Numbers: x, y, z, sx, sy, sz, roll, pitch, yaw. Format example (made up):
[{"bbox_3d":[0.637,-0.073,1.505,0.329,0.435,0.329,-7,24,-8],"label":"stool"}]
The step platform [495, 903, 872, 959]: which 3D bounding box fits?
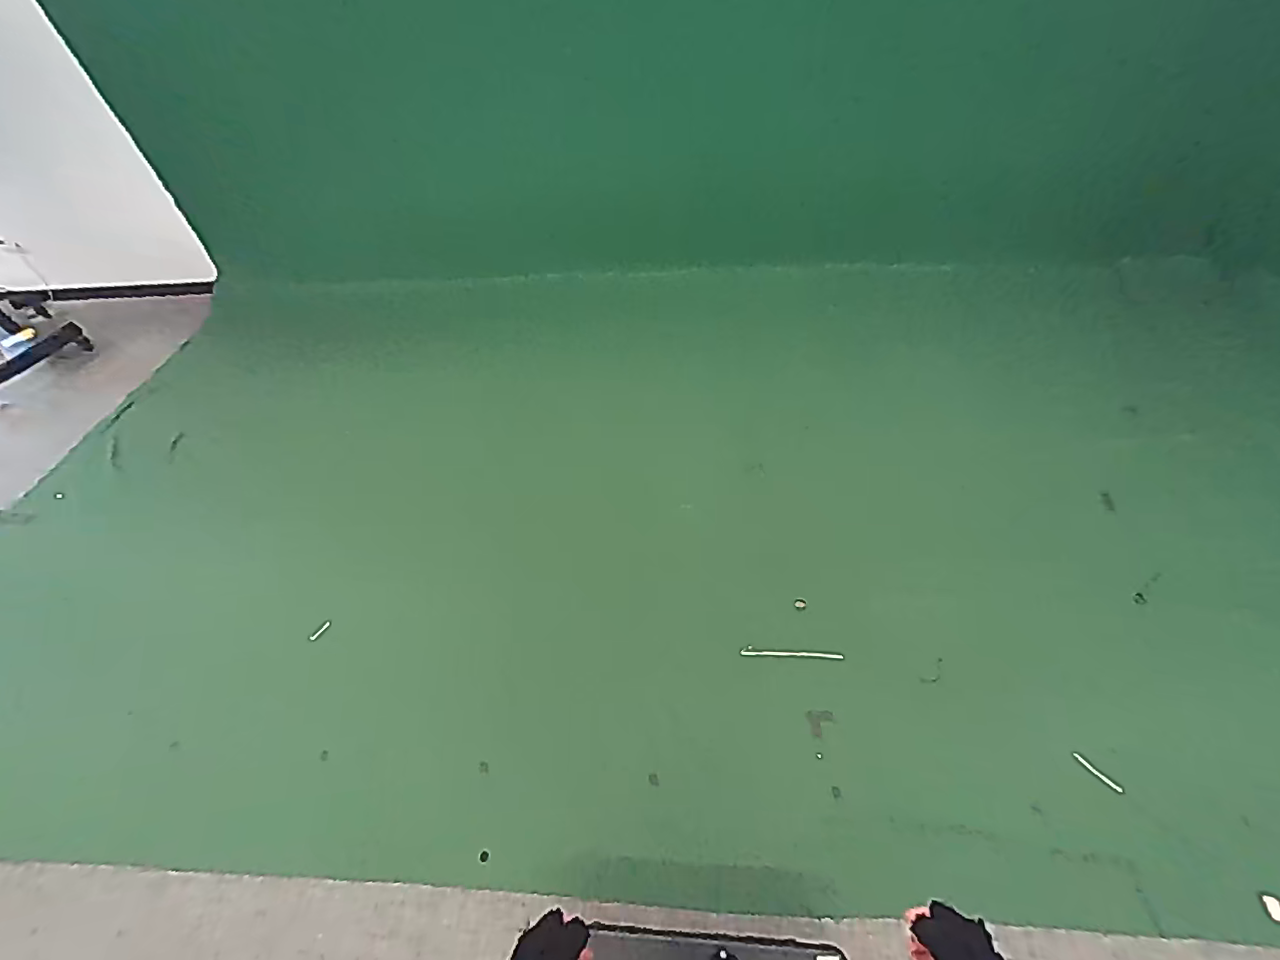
[{"bbox_3d":[0.077,0.972,0.978,0.684,0.204,0.286,-1,49,6],"label":"step platform"}]
